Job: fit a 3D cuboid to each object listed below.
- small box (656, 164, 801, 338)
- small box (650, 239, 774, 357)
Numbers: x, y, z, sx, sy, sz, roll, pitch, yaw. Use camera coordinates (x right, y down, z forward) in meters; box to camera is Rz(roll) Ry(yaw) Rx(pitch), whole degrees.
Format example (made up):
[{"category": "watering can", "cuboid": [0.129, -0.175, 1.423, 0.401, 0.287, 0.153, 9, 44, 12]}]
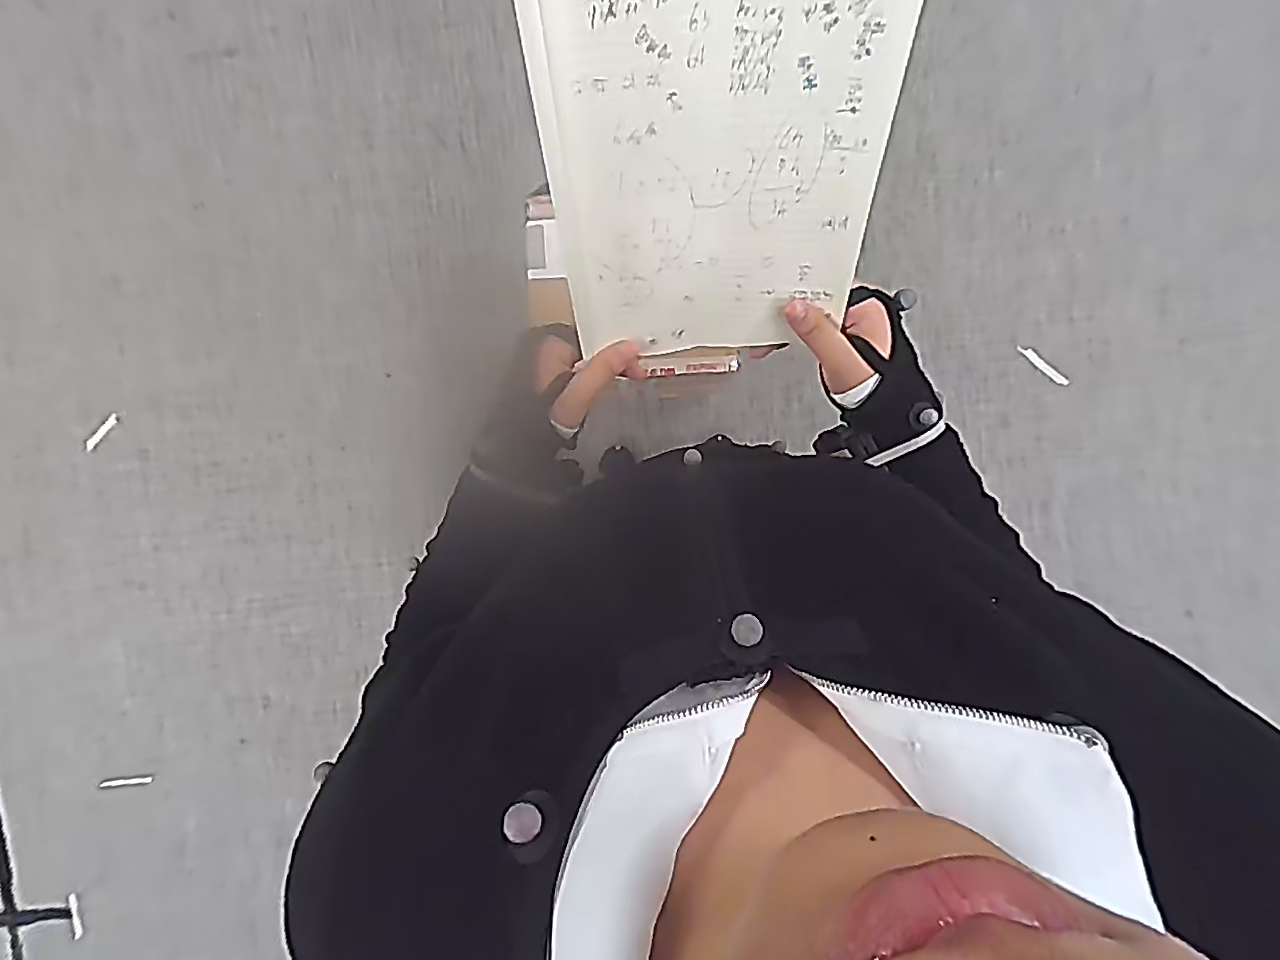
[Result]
[{"category": "small box", "cuboid": [0.115, -0.311, 0.765, 0.168, 0.176, 0.179, -6, 94, -1]}, {"category": "small box", "cuboid": [0.116, -0.315, 0.929, 0.179, 0.176, 0.168, -8, 94, 0]}]
